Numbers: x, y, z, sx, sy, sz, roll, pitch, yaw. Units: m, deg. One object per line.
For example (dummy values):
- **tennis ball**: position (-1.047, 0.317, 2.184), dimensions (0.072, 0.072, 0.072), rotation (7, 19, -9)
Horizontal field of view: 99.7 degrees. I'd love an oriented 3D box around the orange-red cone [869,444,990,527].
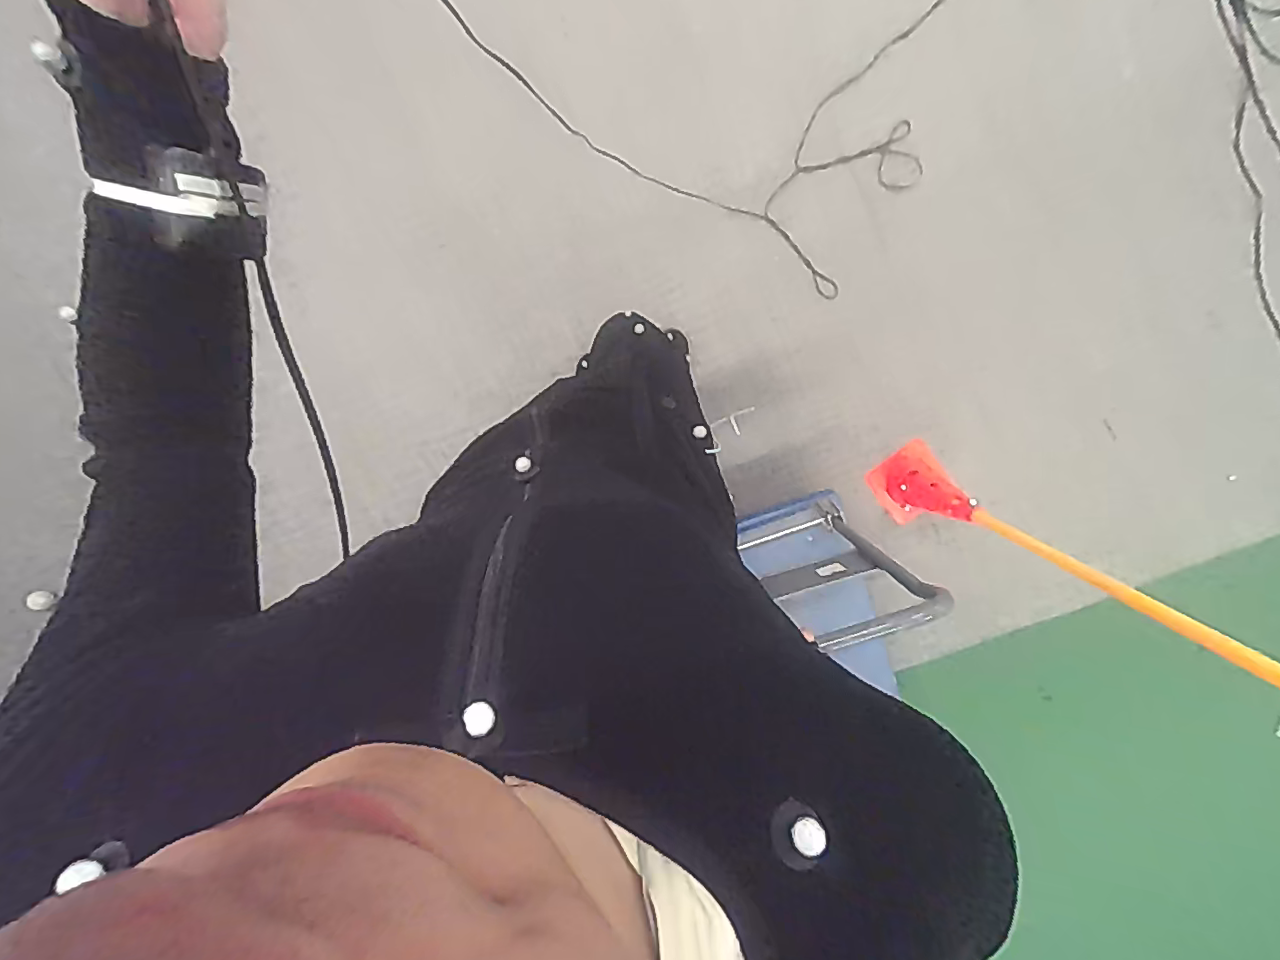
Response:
- **orange-red cone**: position (0.808, 0.053, 1.445), dimensions (0.199, 0.360, 0.198), rotation (-37, 101, 7)
